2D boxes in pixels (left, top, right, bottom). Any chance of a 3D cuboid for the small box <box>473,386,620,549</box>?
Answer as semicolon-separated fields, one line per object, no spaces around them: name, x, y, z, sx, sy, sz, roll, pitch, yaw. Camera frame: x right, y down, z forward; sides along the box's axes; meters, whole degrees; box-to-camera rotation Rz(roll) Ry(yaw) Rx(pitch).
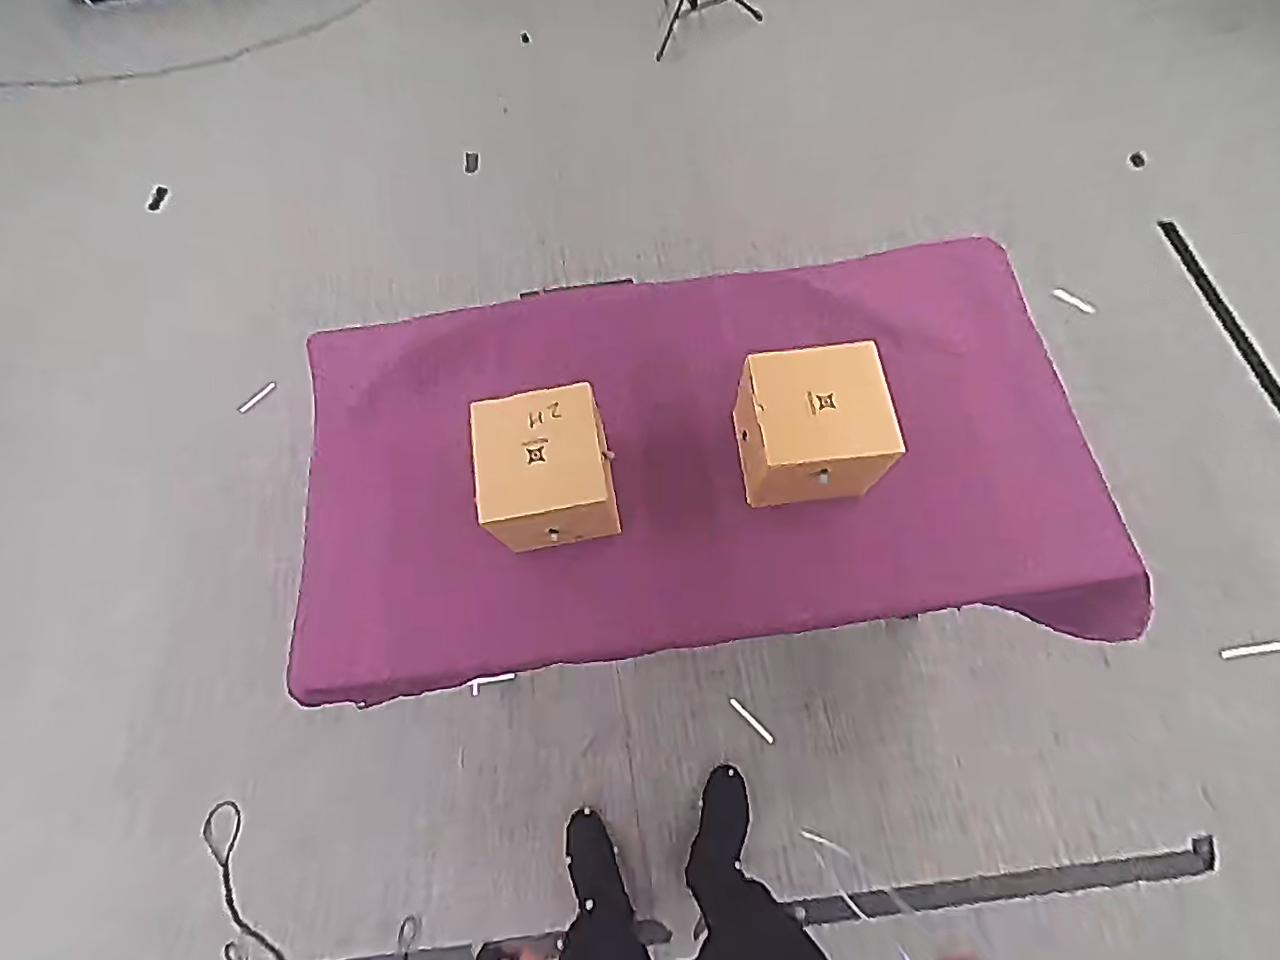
small box;-0.126;-0.007;0.773;0.168;0.176;0.179;-10;69;0

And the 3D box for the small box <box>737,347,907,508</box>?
small box;0.244;-0.067;0.771;0.179;0.176;0.168;-6;69;2
